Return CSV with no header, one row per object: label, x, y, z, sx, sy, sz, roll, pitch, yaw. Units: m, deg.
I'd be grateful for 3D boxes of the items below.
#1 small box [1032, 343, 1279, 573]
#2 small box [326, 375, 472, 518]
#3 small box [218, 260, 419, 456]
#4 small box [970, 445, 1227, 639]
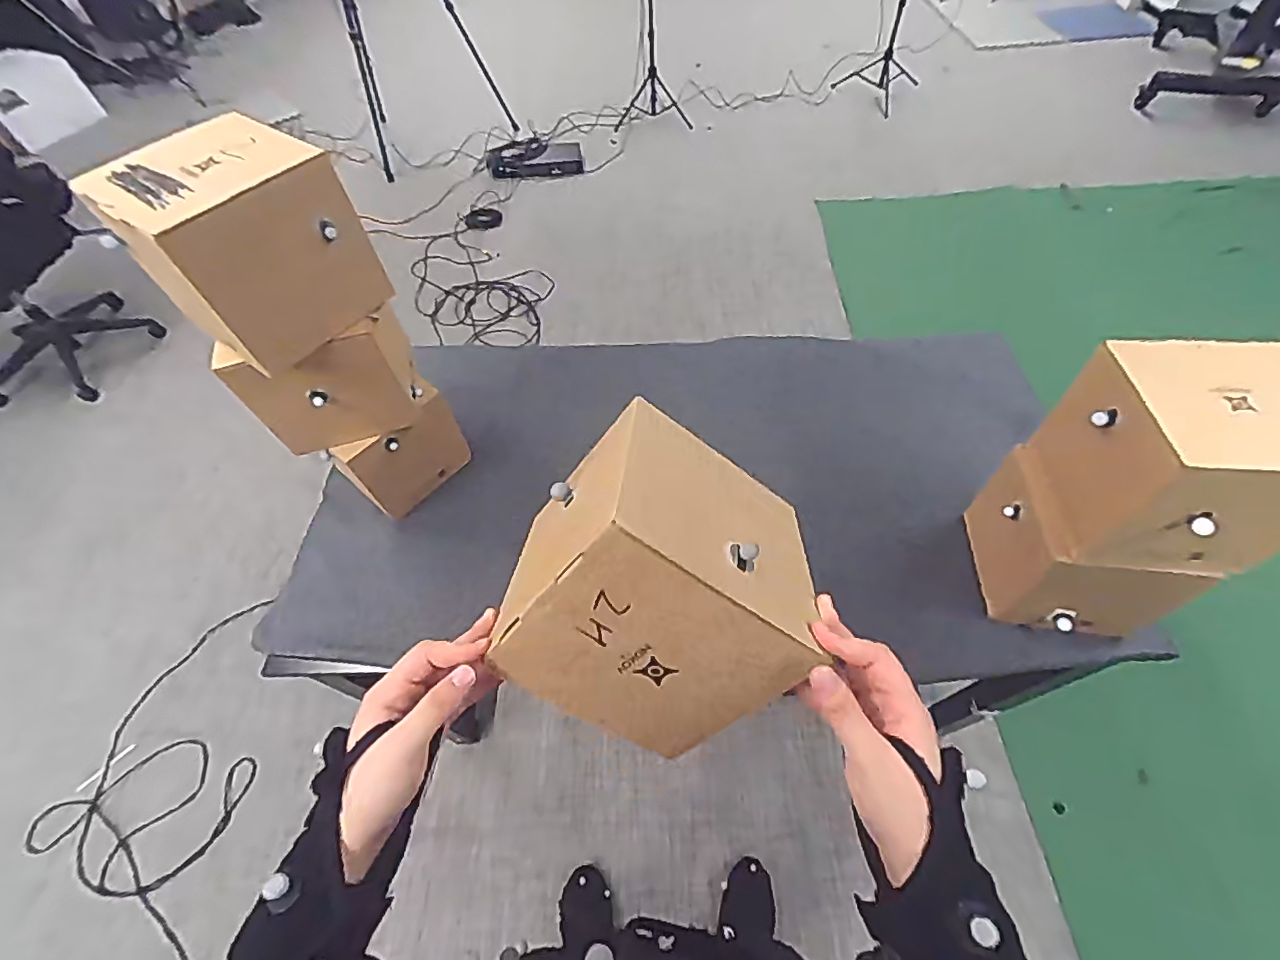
small box,0.552,-0.020,0.557,0.168,0.176,0.179,3,51,8
small box,-0.403,-0.070,0.865,0.179,0.176,0.168,34,65,23
small box,-0.413,-0.159,0.727,0.179,0.176,0.168,-17,57,-7
small box,0.549,0.080,0.686,0.168,0.176,0.179,4,53,9
